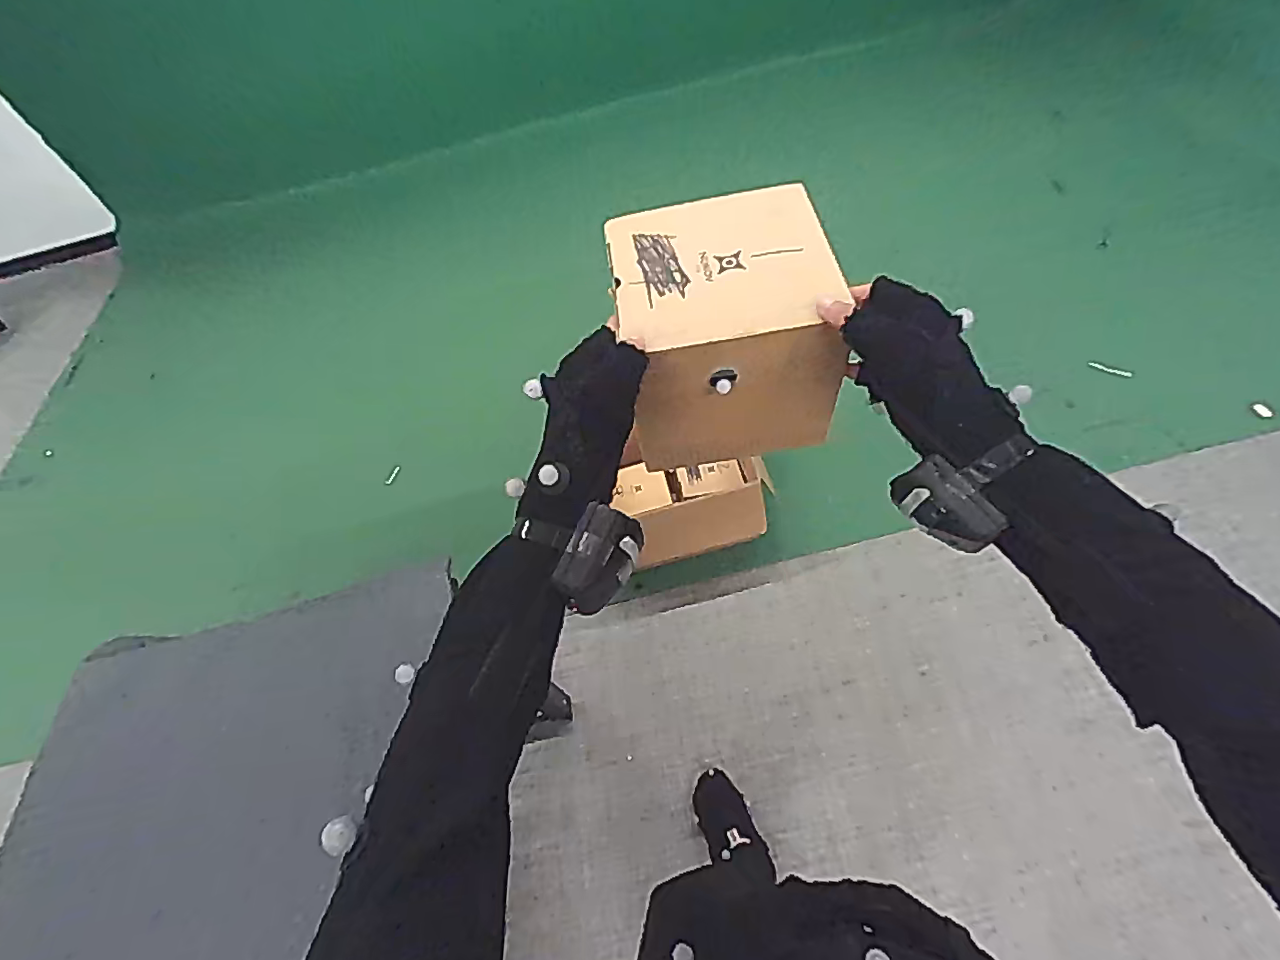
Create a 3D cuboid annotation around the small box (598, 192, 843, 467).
[{"bbox_3d":[0.066,-0.128,0.503,0.179,0.176,0.168,-9,59,3],"label":"small box"}]
